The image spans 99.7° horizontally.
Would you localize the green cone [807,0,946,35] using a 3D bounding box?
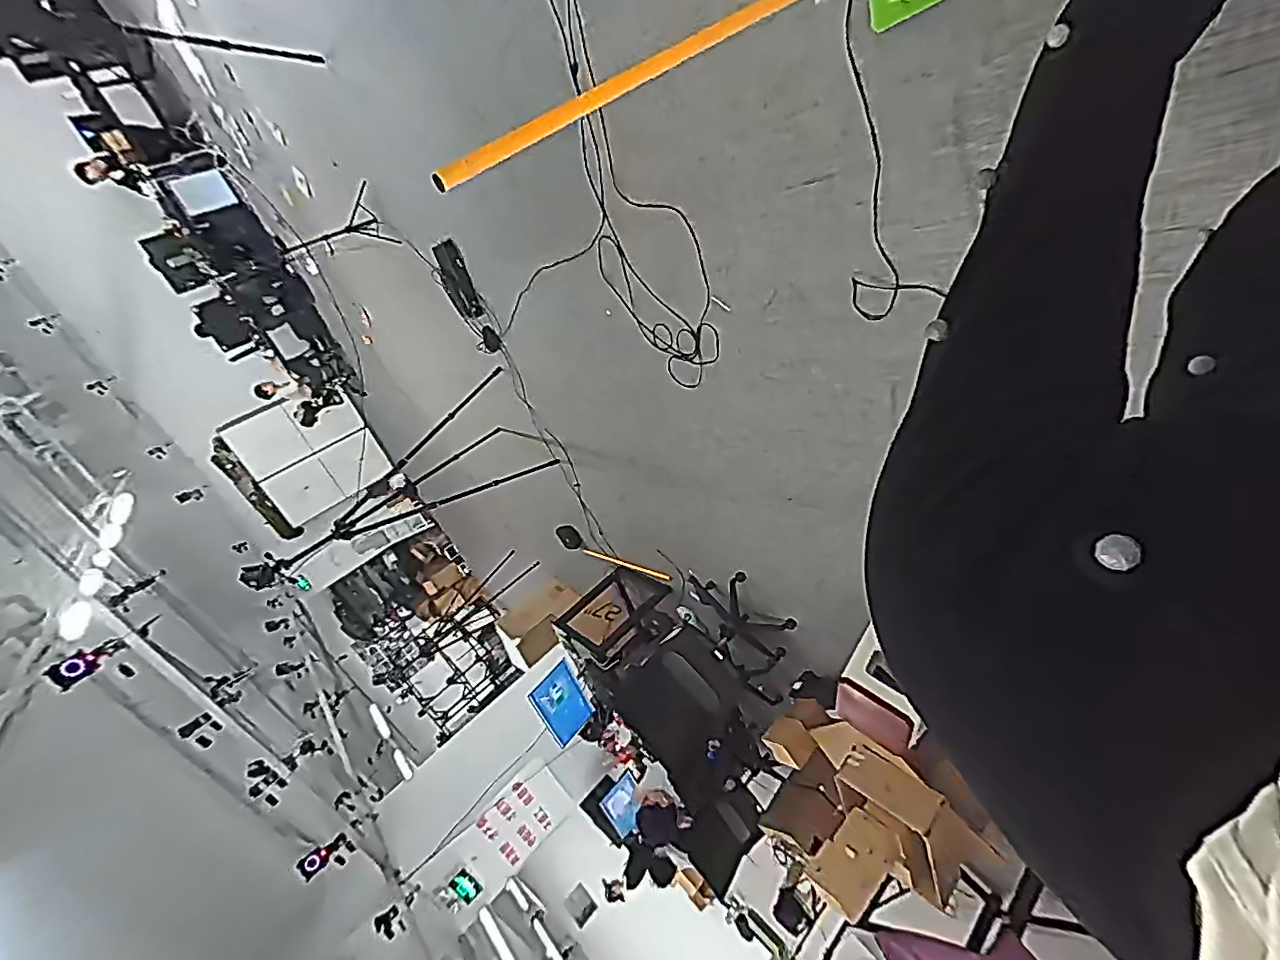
[{"bbox_3d":[0.449,-1.016,1.080,0.202,0.368,0.200,14,134,52],"label":"green cone"}]
